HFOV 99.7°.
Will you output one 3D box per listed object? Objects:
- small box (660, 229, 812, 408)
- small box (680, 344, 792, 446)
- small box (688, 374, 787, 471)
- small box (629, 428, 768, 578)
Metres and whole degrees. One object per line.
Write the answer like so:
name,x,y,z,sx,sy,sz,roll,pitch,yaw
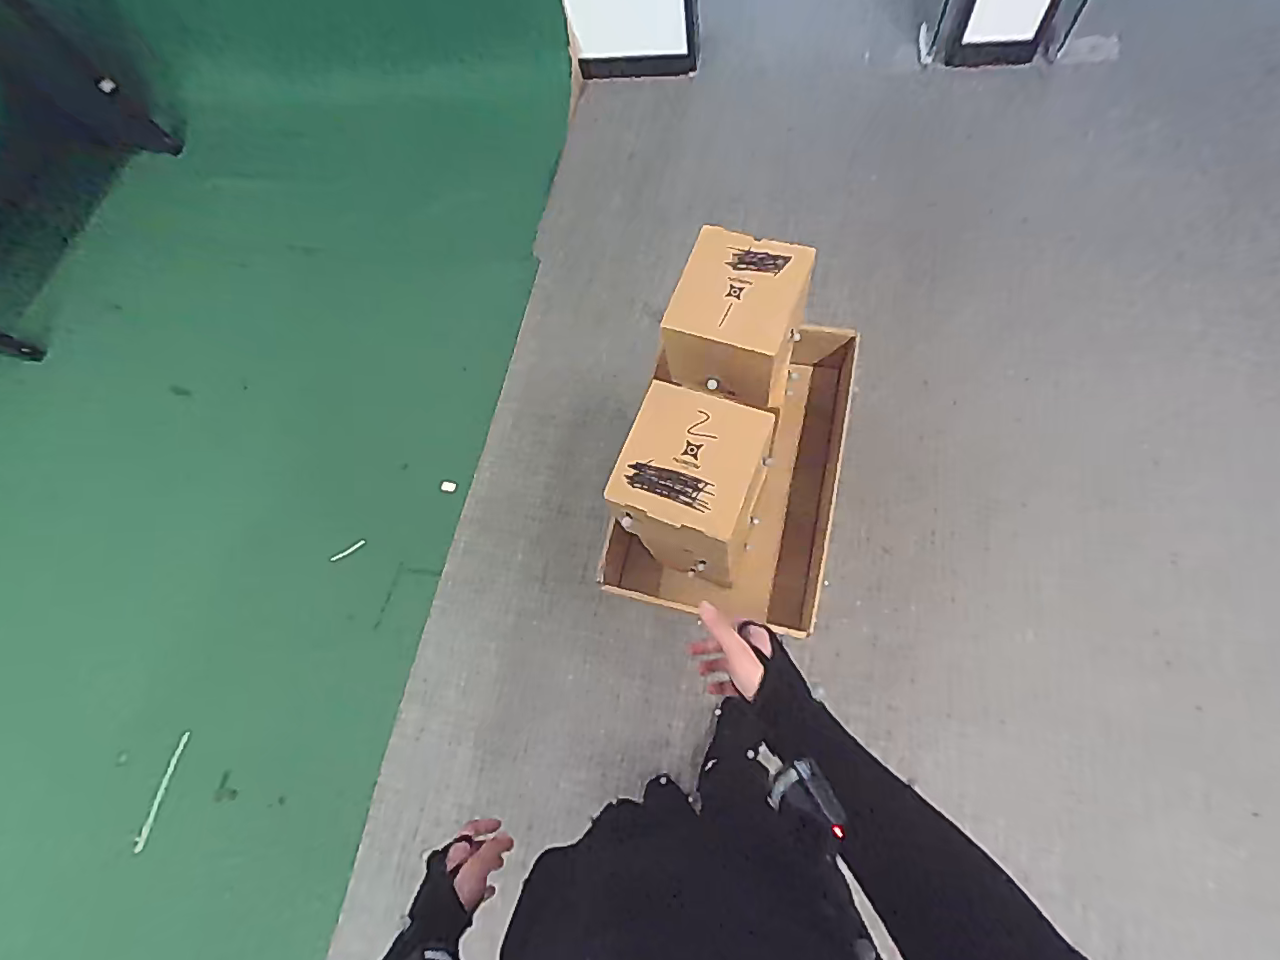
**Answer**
small box,0.144,-0.237,0.818,0.168,0.176,0.179,19,77,16
small box,0.174,-0.180,0.969,0.168,0.176,0.179,10,74,12
small box,0.203,-0.131,1.121,0.168,0.176,0.179,10,74,14
small box,0.102,0.046,0.896,0.168,0.176,0.179,21,74,16
